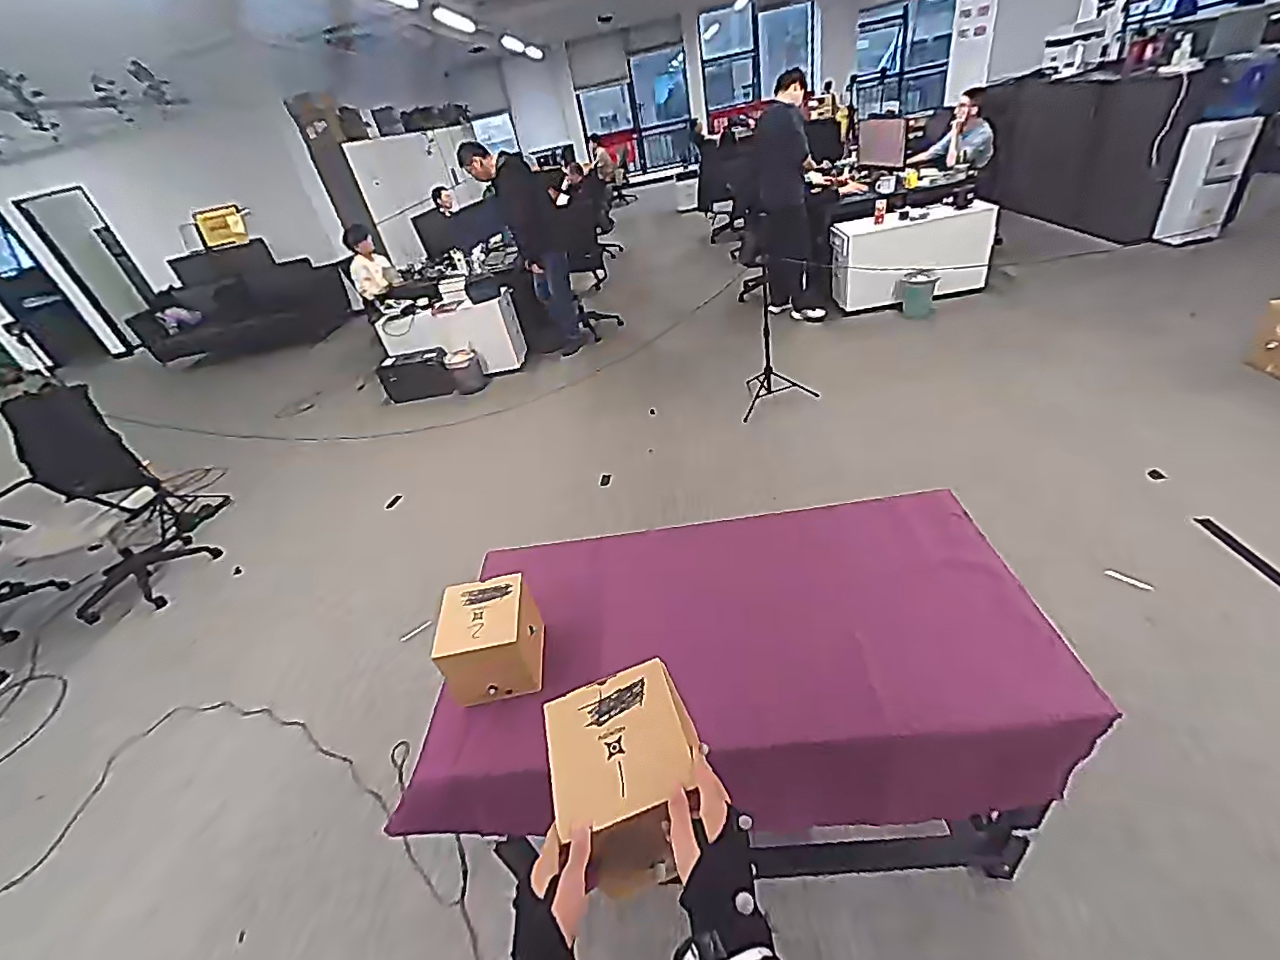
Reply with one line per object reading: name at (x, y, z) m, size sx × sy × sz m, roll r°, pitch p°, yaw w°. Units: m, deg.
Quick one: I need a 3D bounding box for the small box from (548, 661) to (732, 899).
small box at (-0.003, 0.369, 0.673) m, size 0.168 × 0.176 × 0.179 m, roll -22°, pitch 33°, yaw 0°
